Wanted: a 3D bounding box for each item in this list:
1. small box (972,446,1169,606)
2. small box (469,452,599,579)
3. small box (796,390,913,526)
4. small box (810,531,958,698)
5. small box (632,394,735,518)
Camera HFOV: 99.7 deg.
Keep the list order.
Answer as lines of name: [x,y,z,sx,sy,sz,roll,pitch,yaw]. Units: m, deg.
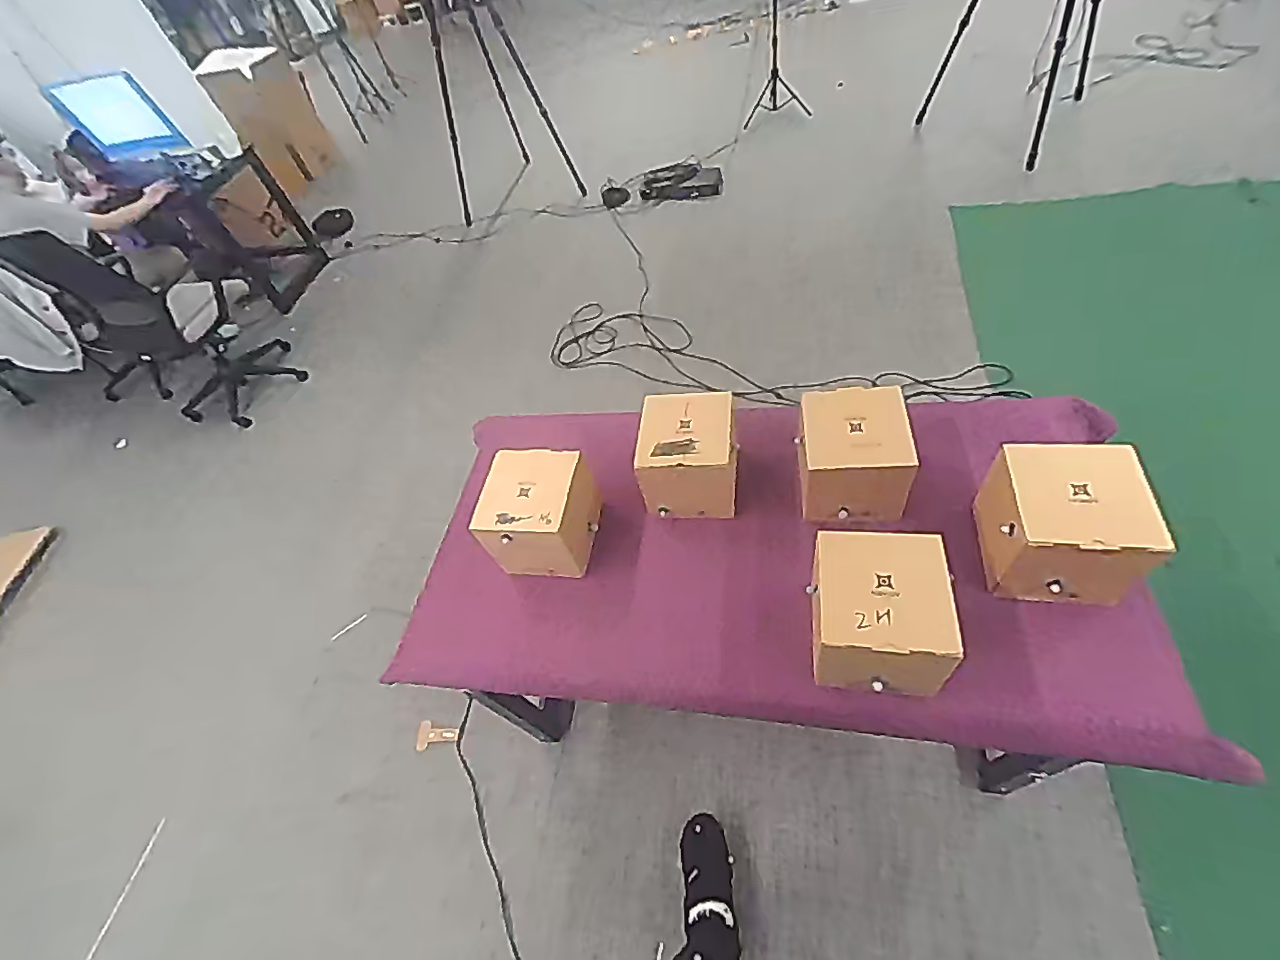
small box: [0.623,0.069,0.815,0.168,0.176,0.179,1,55,16]
small box: [-0.185,0.065,1.011,0.168,0.176,0.179,0,53,15]
small box: [0.368,-0.037,0.959,0.168,0.176,0.179,-1,54,14]
small box: [0.337,0.195,0.786,0.168,0.176,0.179,1,52,15]
small box: [0.092,-0.040,1.027,0.168,0.176,0.179,-1,53,13]
